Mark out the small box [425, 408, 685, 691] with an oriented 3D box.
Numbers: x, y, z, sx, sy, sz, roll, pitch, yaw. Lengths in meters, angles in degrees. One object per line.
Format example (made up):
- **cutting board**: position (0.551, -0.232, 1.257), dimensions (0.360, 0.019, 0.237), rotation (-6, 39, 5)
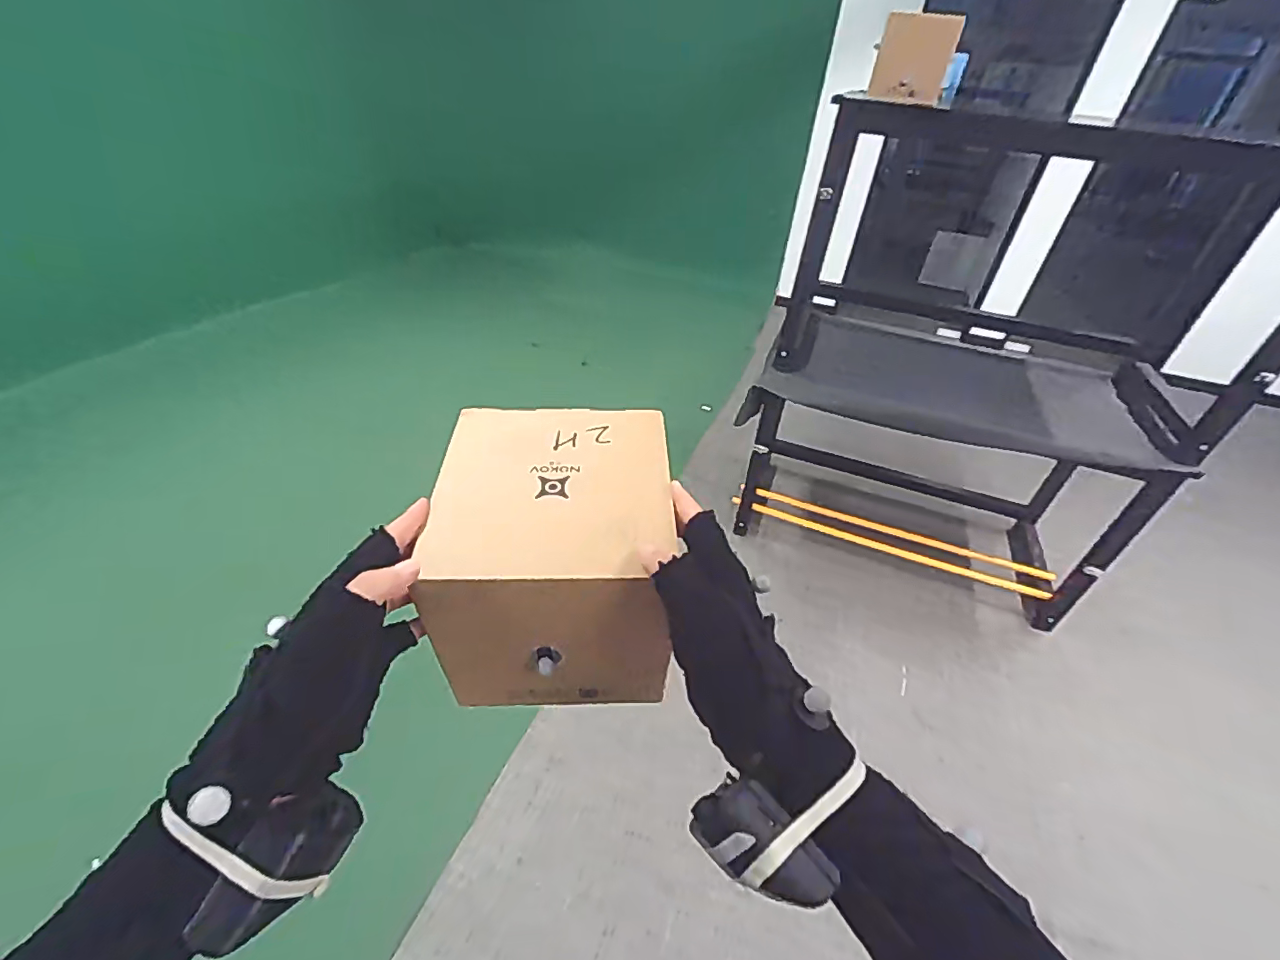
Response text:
- **small box**: position (-0.056, 0.058, 0.447), dimensions (0.168, 0.176, 0.179), rotation (1, 42, -3)
